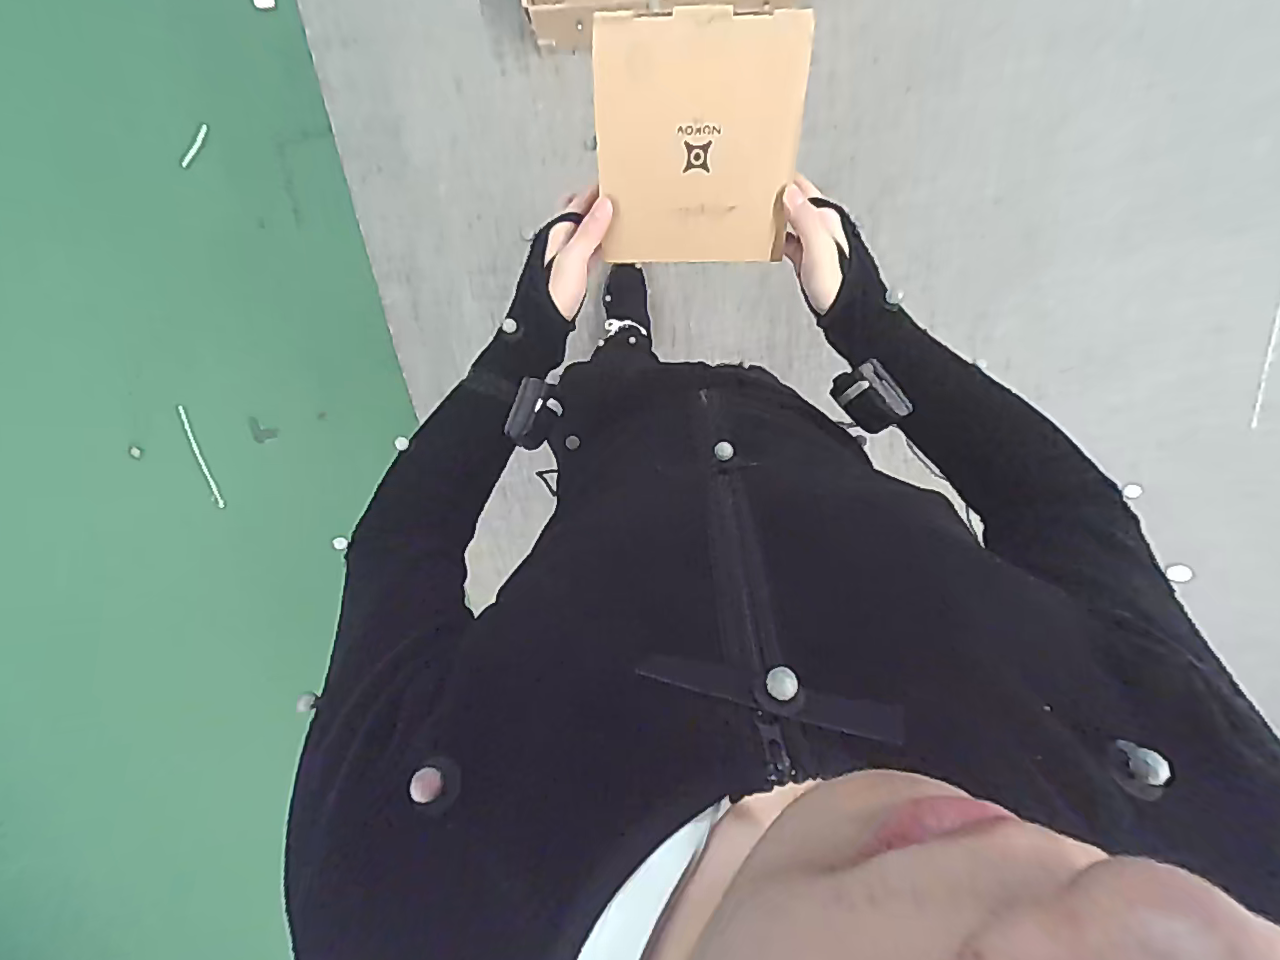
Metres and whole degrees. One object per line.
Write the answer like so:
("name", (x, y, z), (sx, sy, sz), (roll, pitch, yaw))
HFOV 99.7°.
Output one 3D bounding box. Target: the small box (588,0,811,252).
("small box", (0.042, -0.320, 0.498), (0.168, 0.176, 0.179), (1, 126, 1))
